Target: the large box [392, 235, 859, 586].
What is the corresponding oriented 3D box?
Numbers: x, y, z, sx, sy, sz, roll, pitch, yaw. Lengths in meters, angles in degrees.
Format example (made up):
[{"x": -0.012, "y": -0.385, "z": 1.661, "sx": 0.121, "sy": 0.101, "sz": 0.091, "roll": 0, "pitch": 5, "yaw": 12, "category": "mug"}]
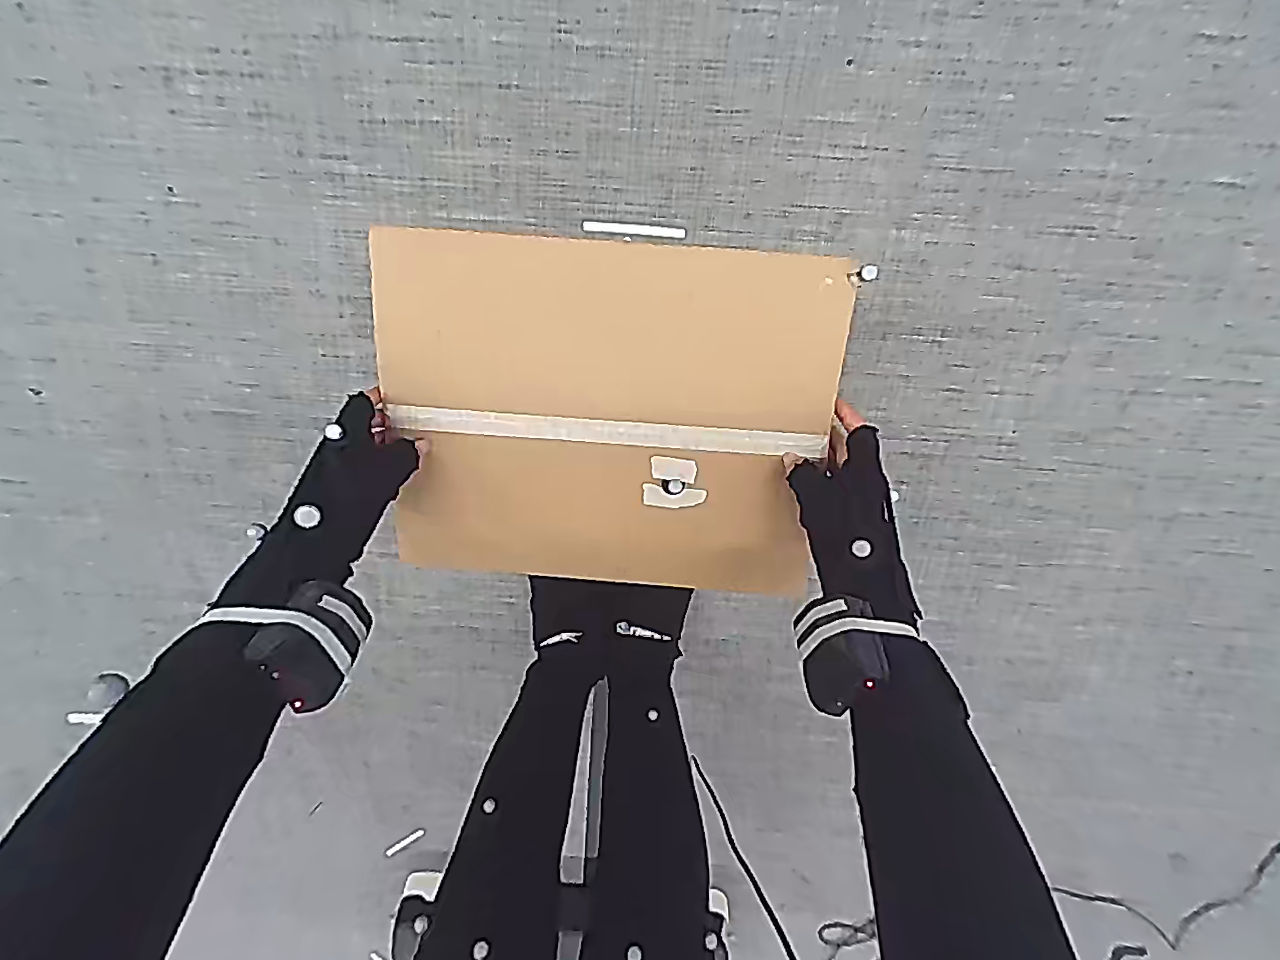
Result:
[{"x": -0.018, "y": -0.094, "z": 0.641, "sx": 0.408, "sy": 0.320, "sz": 0.320, "roll": 4, "pitch": 109, "yaw": 1, "category": "large box"}]
